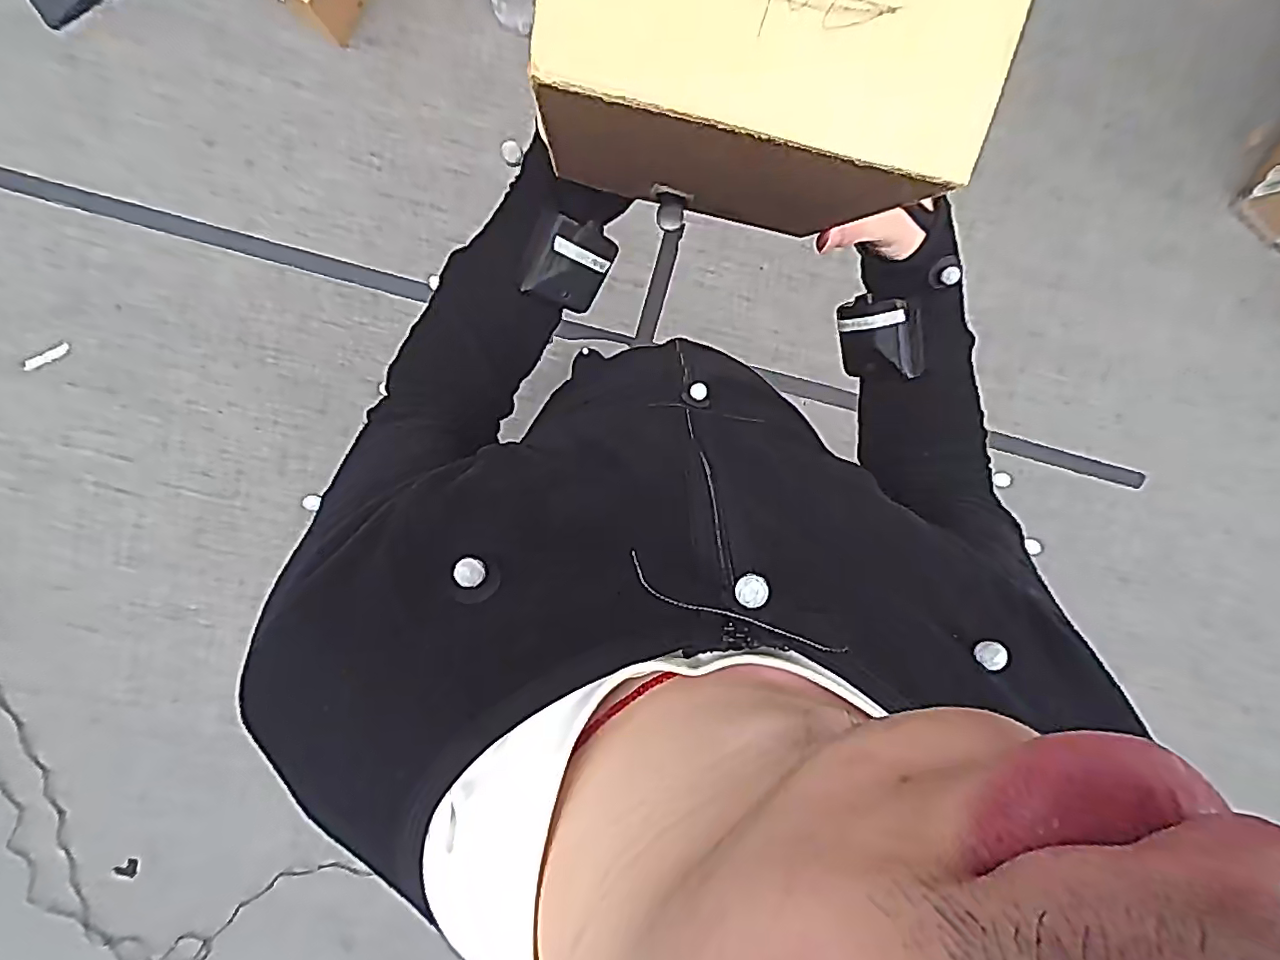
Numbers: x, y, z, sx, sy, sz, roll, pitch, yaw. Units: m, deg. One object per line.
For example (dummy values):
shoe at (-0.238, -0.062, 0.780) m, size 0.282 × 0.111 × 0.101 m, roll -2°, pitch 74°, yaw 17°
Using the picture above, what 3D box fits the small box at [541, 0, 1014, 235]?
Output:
small box at (0.053, -0.233, 0.254) m, size 0.168 × 0.176 × 0.179 m, roll 10°, pitch 107°, yaw -8°
